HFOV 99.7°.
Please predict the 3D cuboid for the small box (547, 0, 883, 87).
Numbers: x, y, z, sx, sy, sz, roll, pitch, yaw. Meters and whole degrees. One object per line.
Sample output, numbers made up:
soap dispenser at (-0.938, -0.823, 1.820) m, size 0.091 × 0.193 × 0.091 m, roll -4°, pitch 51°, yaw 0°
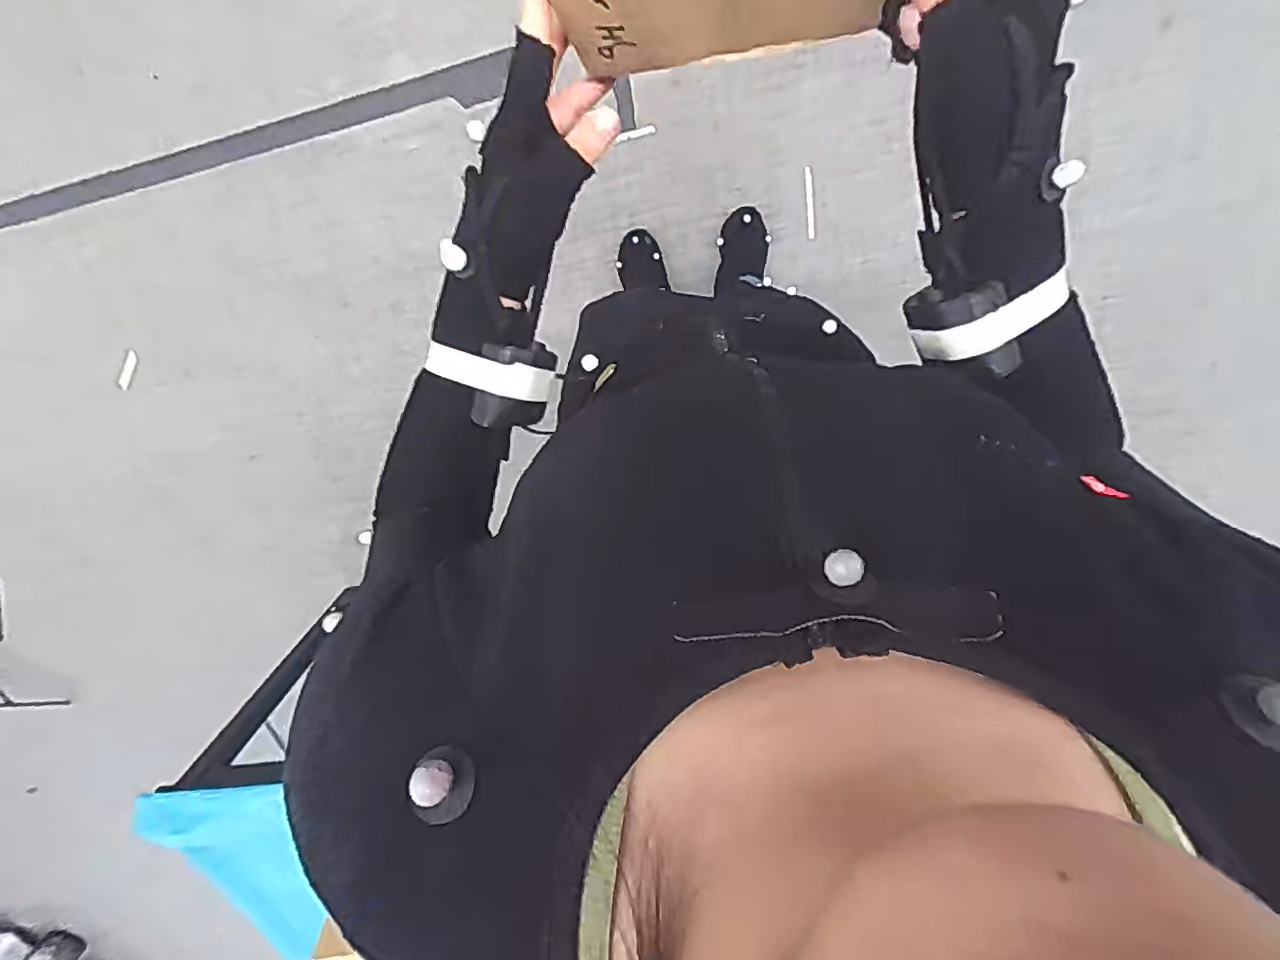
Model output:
small box at (0.032, -0.333, 0.250) m, size 0.179 × 0.168 × 0.176 m, roll 1°, pitch 92°, yaw 14°
